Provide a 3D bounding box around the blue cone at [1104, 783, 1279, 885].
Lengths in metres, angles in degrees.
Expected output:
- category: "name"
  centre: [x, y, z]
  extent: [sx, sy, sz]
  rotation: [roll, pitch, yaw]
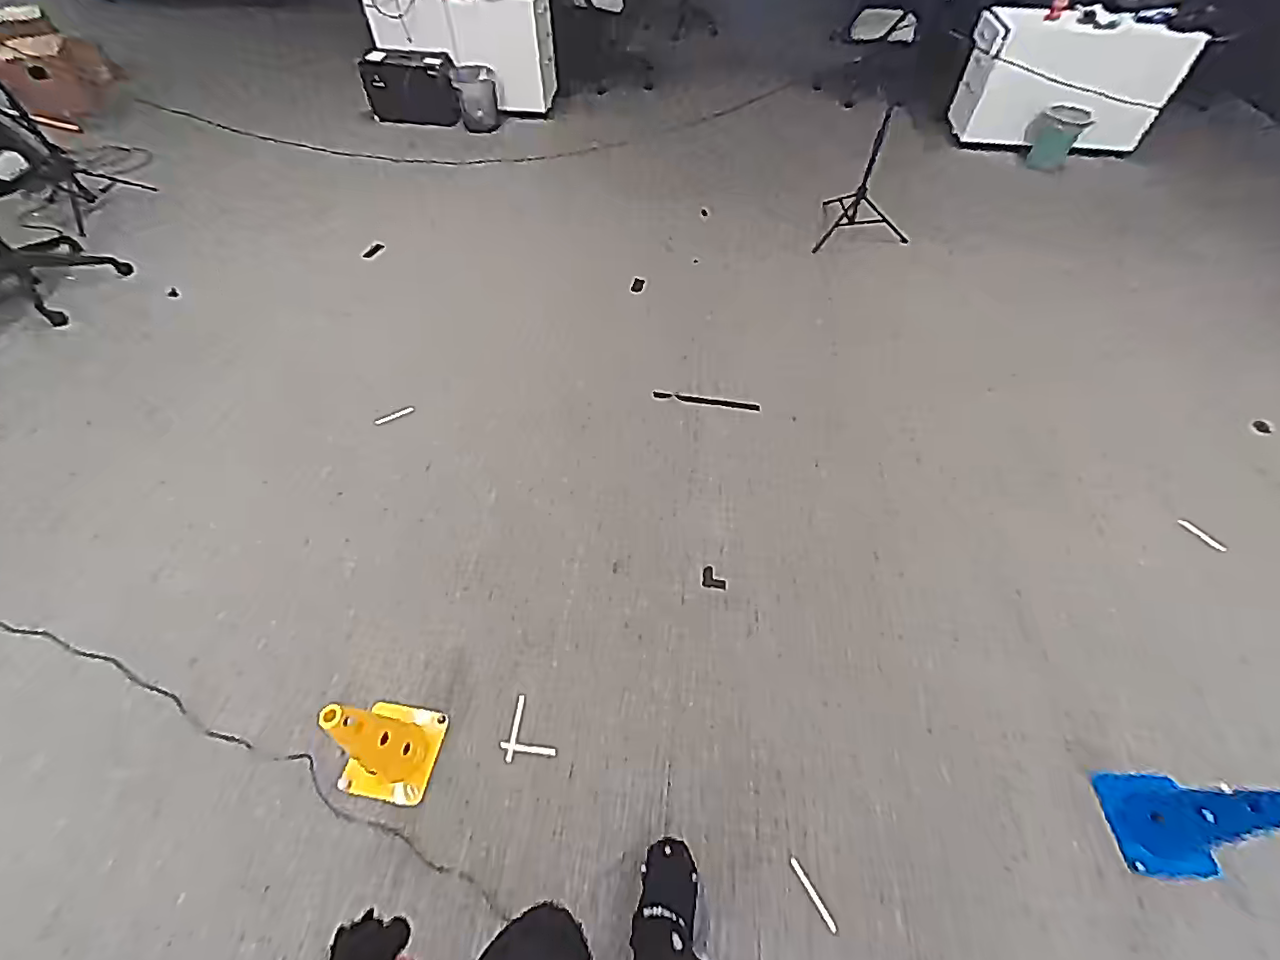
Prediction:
- category: "blue cone"
  centre: [1.172, 0.694, 1.086]
  extent: [0.193, 0.380, 0.192]
  rotation: [3, 53, 1]
